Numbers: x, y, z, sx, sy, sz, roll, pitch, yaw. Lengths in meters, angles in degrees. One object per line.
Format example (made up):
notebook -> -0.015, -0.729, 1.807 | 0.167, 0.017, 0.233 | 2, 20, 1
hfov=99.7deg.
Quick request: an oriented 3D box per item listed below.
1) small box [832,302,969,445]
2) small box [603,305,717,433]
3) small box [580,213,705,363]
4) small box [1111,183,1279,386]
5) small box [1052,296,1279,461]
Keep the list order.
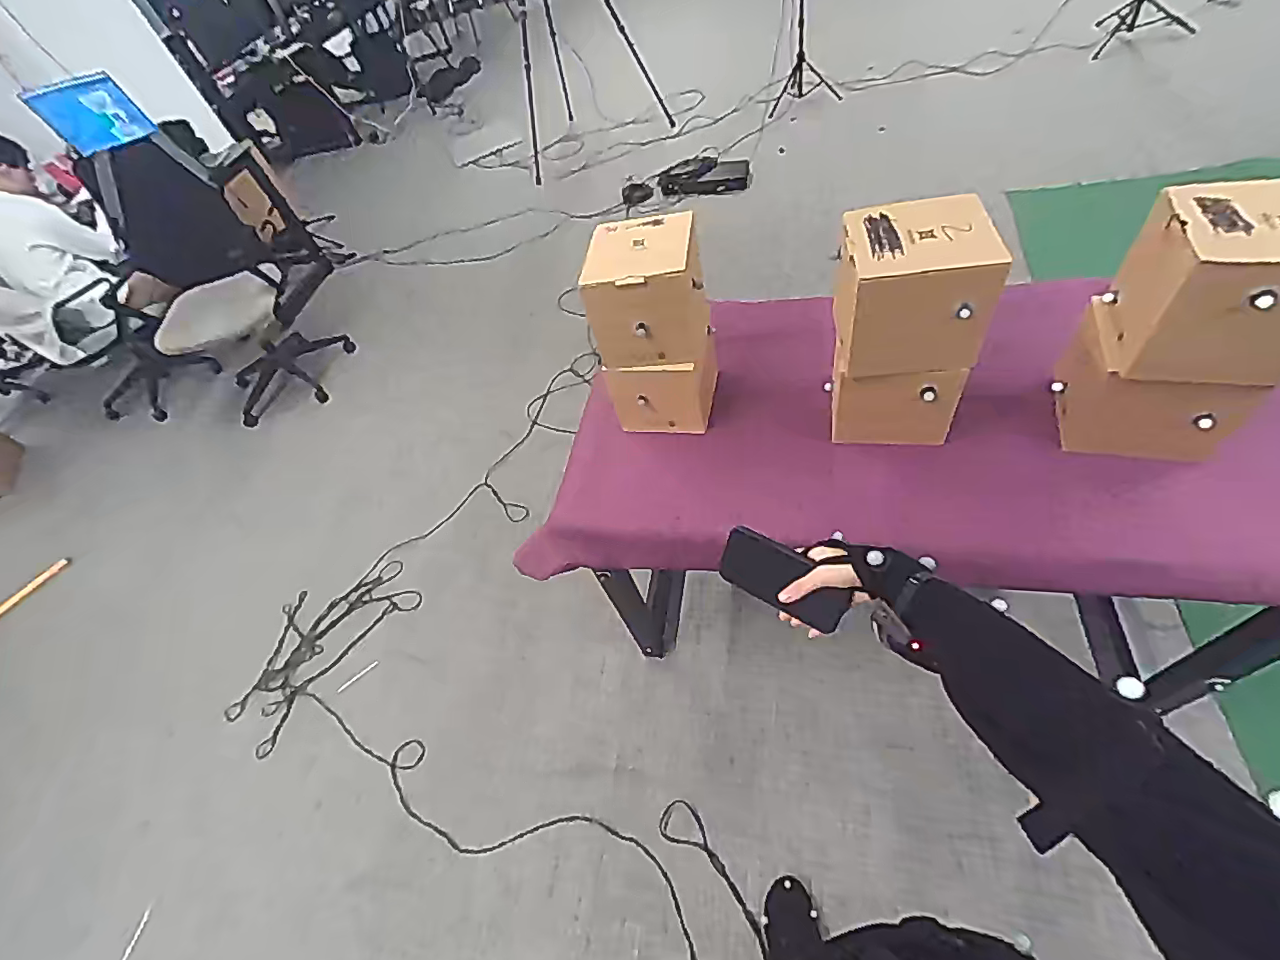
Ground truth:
small box -> 0.417, -0.171, 0.893 | 0.179, 0.176, 0.168 | 2, 54, 17
small box -> 0.049, -0.204, 1.022 | 0.168, 0.176, 0.179 | 3, 54, 18
small box -> 0.015, -0.308, 0.900 | 0.168, 0.176, 0.179 | -1, 54, 14
small box -> 0.708, -0.230, 0.648 | 0.179, 0.176, 0.168 | 8, 56, 20
small box -> 0.738, -0.145, 0.785 | 0.179, 0.176, 0.168 | 8, 55, 21
